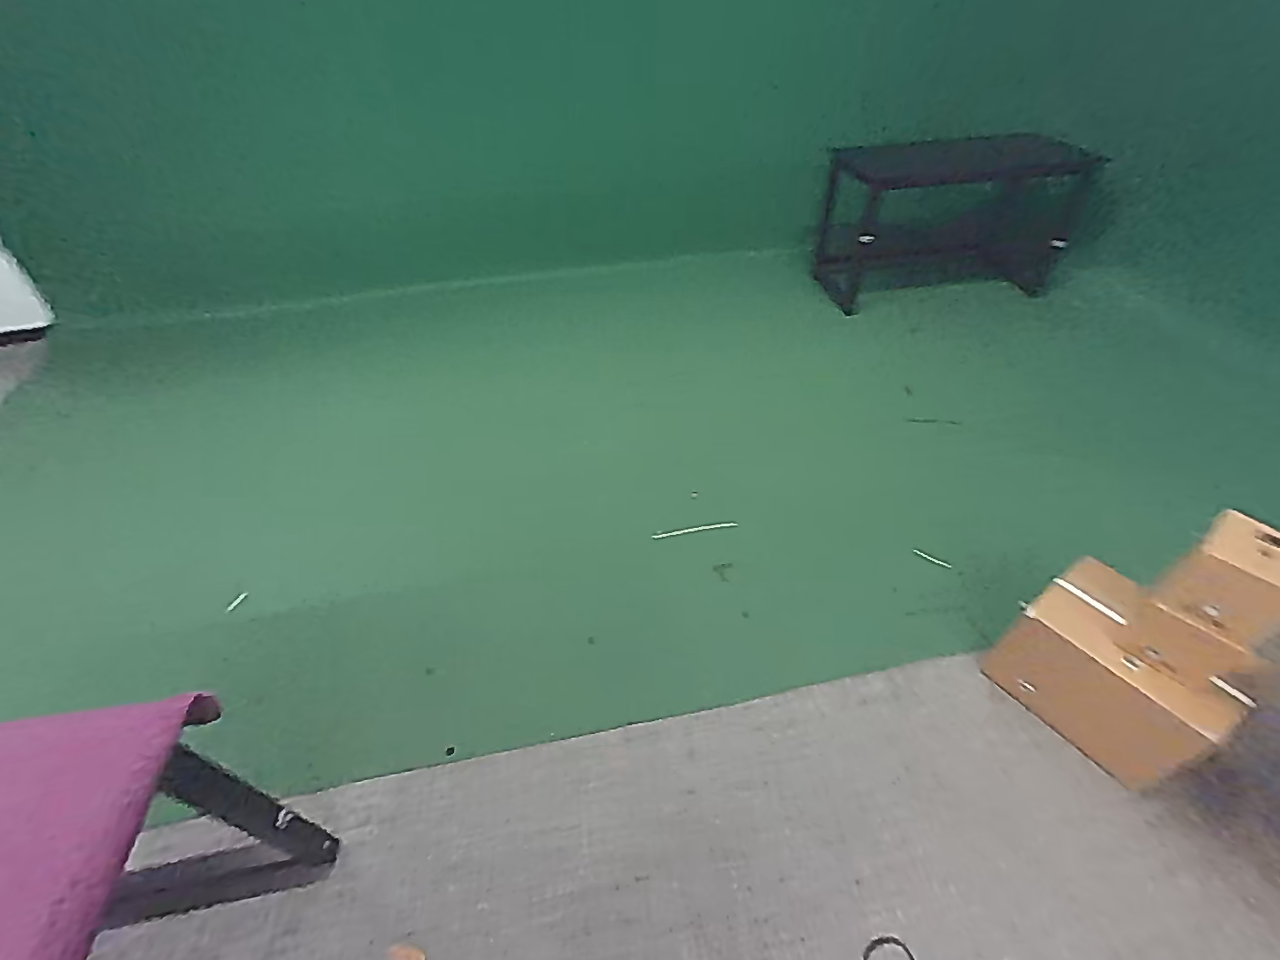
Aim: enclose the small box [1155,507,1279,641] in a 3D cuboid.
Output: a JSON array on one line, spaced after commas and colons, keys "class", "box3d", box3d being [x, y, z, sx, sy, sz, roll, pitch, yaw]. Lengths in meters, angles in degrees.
[{"class": "small box", "box3d": [1.233, 0.194, 1.122, 0.179, 0.176, 0.168, -30, 49, -26]}]
